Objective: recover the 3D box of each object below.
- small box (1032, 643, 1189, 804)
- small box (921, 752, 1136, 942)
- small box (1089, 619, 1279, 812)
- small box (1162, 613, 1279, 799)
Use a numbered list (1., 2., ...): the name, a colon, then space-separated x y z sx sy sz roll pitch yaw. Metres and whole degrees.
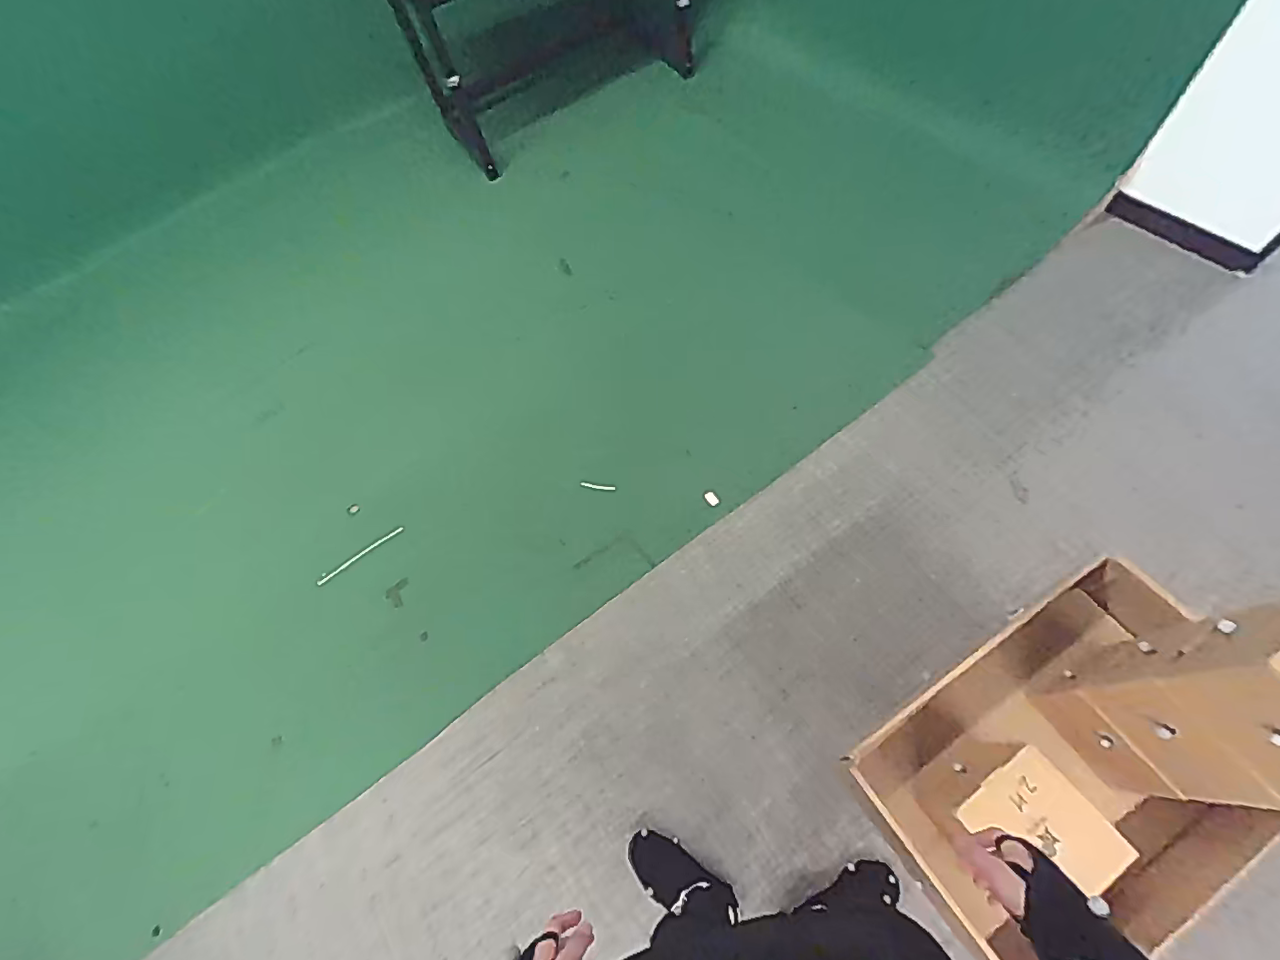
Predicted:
1. small box: 0.807 0.399 0.890 0.168 0.176 0.179 -30 64 -7
2. small box: 0.583 0.549 0.840 0.168 0.176 0.179 -33 63 -10
3. small box: 0.789 0.325 0.745 0.168 0.176 0.179 -32 62 -7
4. small box: 0.767 0.252 0.599 0.168 0.176 0.179 -32 63 -7
